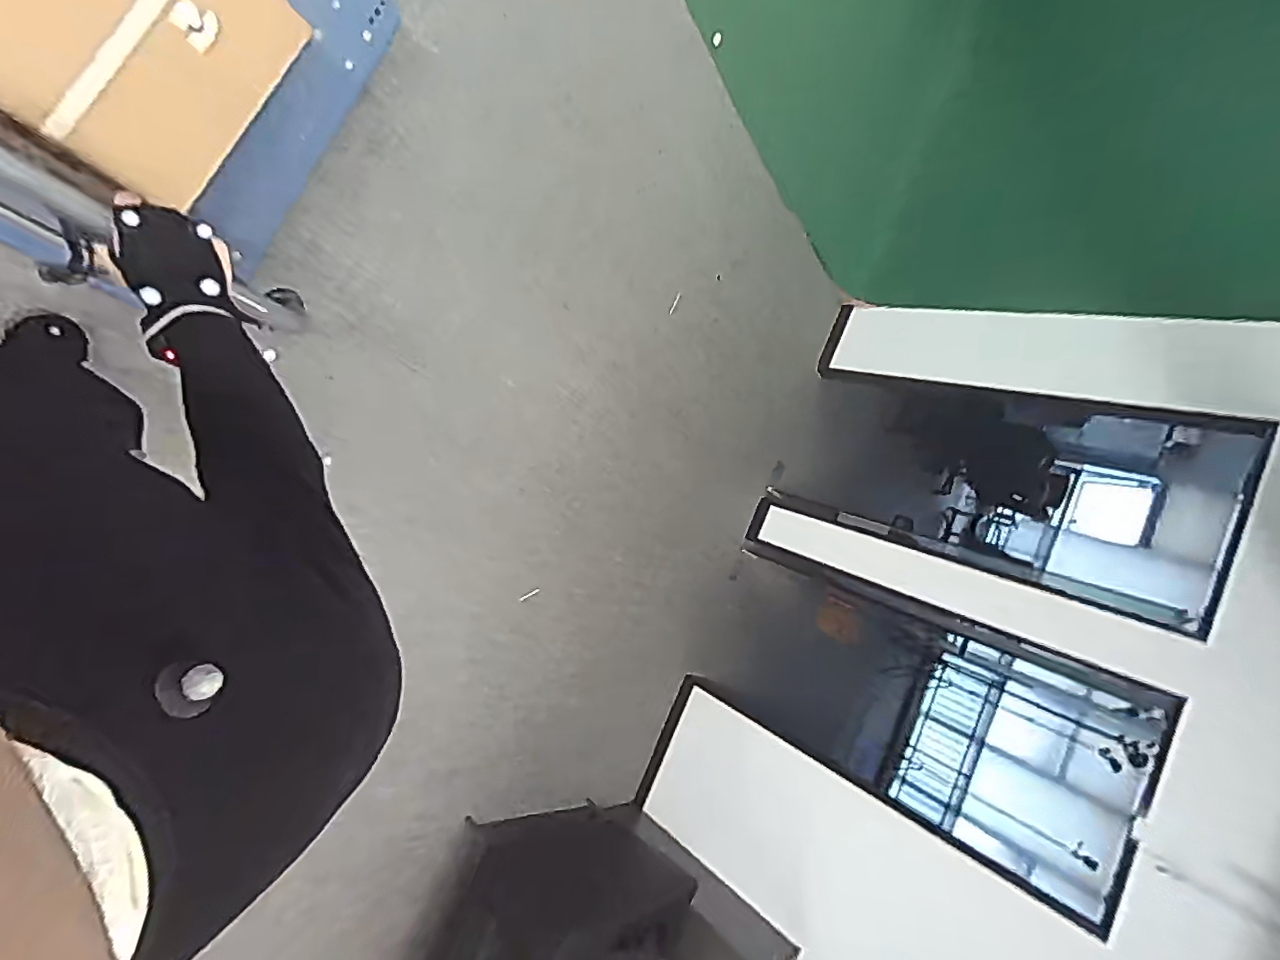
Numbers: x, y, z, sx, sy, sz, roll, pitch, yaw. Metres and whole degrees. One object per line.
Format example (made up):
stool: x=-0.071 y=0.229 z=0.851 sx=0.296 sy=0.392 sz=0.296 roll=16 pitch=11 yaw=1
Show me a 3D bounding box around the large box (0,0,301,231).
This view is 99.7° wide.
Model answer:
large box: x=-0.842 y=-0.677 z=0.866 sx=0.320 sy=0.320 sz=0.408 roll=36 pitch=77 yaw=-49
